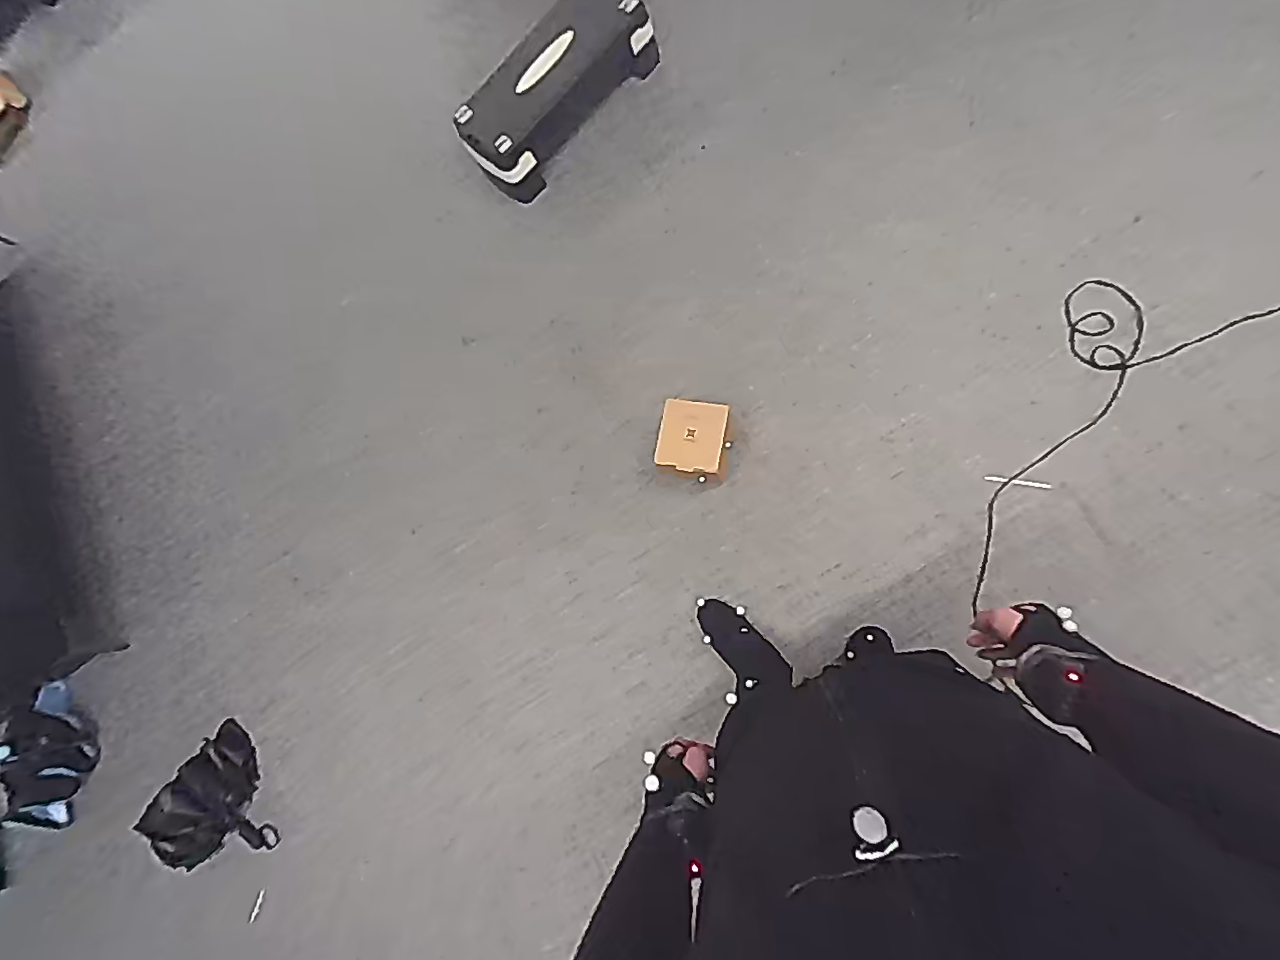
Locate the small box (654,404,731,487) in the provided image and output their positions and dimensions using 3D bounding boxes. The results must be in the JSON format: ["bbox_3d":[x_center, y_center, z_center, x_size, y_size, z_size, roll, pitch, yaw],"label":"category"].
[{"bbox_3d":[0.147,-0.086,1.444,0.168,0.176,0.179,9,80,15],"label":"small box"}]
